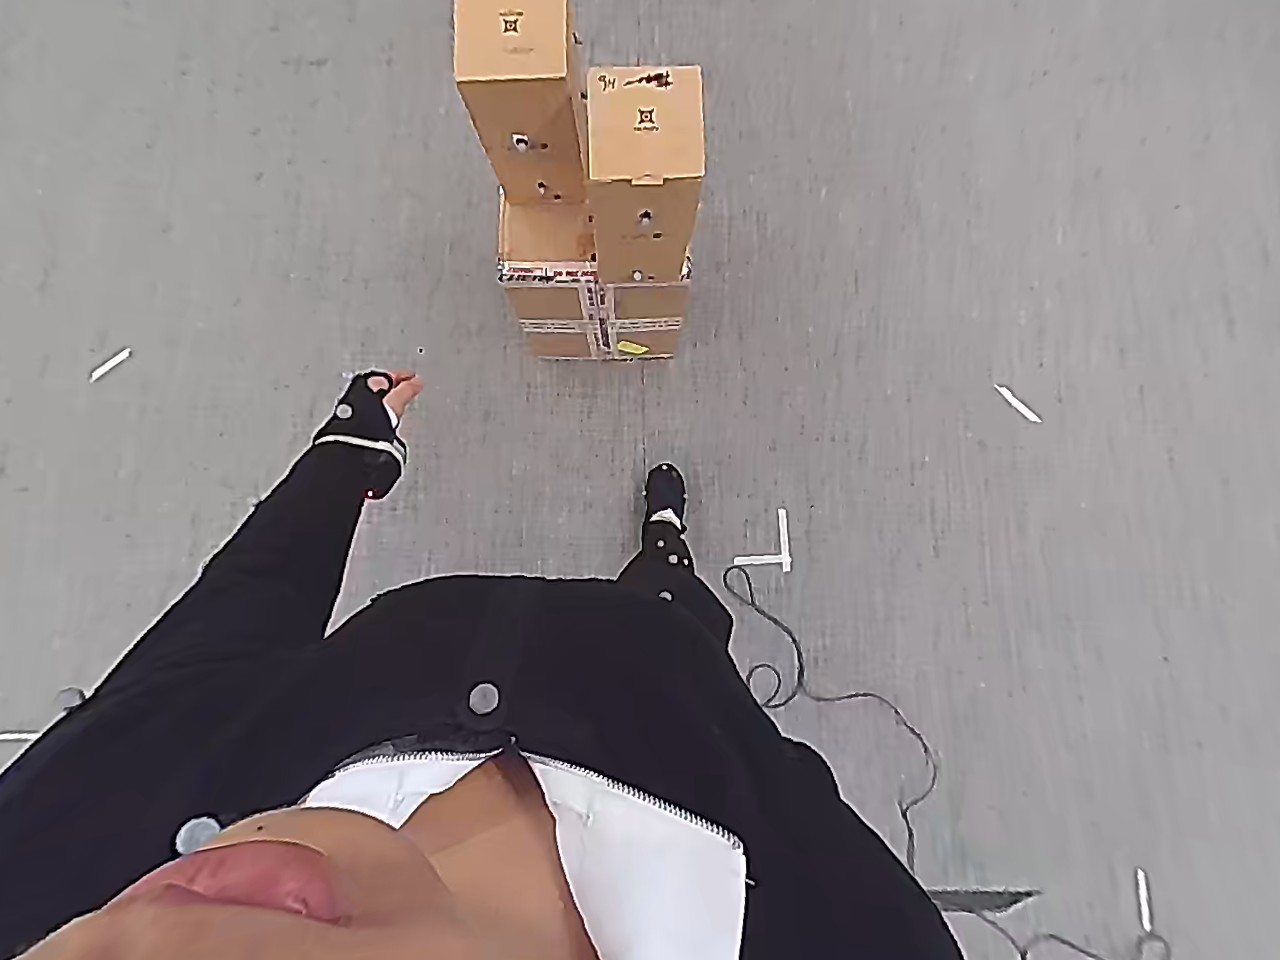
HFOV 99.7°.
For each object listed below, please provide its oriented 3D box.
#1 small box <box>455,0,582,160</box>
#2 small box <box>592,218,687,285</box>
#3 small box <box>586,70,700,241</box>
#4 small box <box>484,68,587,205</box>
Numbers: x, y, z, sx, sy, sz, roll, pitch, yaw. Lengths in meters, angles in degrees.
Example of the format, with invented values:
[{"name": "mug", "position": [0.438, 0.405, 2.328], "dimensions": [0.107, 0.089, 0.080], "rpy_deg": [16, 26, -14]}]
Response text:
[{"name": "small box", "position": [-0.186, -0.648, 0.863], "dimensions": [0.168, 0.176, 0.179], "rpy_deg": [-2, 86, 1]}, {"name": "small box", "position": [-0.005, -0.486, 1.013], "dimensions": [0.168, 0.176, 0.179], "rpy_deg": [-2, 86, -1]}, {"name": "small box", "position": [0.004, -0.496, 0.849], "dimensions": [0.168, 0.176, 0.179], "rpy_deg": [-1, 85, -1]}, {"name": "small box", "position": [-0.191, -0.654, 1.027], "dimensions": [0.168, 0.176, 0.179], "rpy_deg": [-1, 85, 1]}]
